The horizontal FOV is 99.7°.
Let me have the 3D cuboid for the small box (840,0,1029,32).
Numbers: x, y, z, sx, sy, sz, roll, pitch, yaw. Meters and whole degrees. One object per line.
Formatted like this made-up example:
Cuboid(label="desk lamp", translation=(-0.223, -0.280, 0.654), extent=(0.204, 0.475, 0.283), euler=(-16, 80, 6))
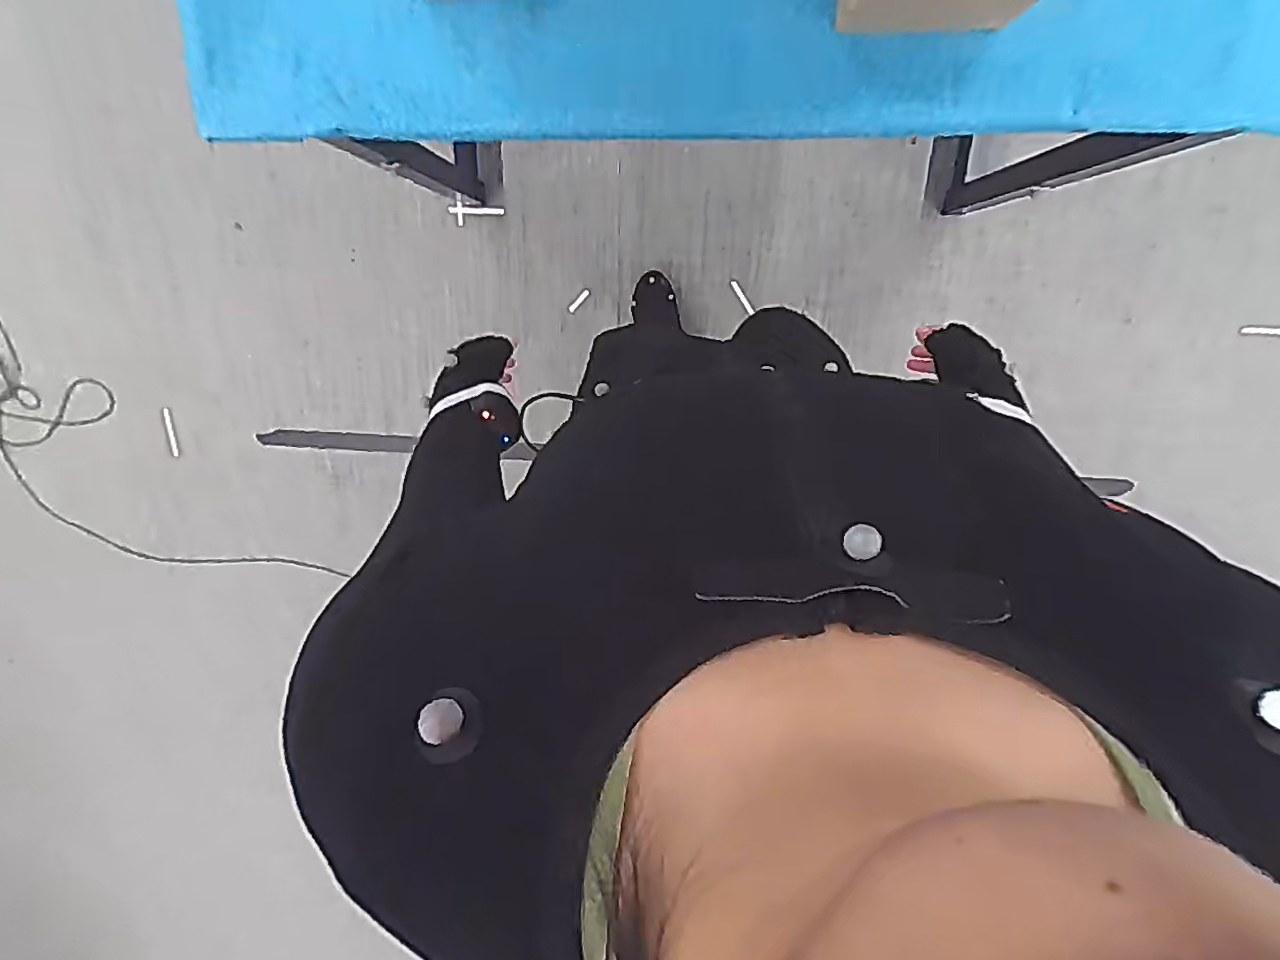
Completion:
Cuboid(label="small box", translation=(0.288, -0.520, 0.465), extent=(0.179, 0.176, 0.168), euler=(2, 110, 3))
